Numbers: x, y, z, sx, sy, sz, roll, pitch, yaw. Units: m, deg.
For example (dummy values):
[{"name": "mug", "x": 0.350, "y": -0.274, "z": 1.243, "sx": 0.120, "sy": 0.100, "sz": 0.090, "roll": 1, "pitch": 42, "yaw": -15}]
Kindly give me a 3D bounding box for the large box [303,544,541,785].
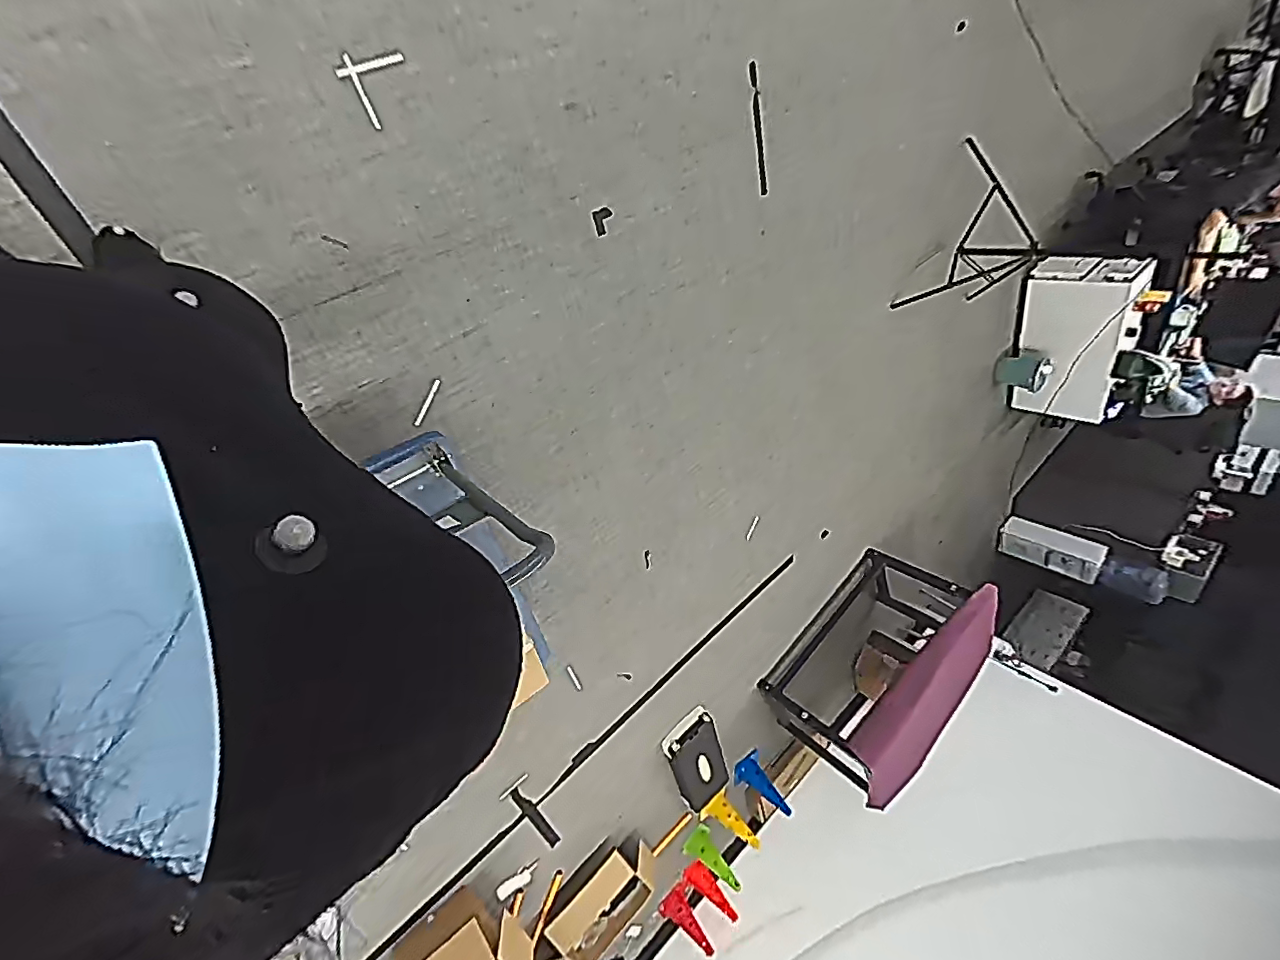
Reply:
[{"name": "large box", "x": -0.526, "y": 0.427, "z": 1.332, "sx": 0.408, "sy": 0.320, "sz": 0.320, "roll": -32, "pitch": 127, "yaw": -28}]
